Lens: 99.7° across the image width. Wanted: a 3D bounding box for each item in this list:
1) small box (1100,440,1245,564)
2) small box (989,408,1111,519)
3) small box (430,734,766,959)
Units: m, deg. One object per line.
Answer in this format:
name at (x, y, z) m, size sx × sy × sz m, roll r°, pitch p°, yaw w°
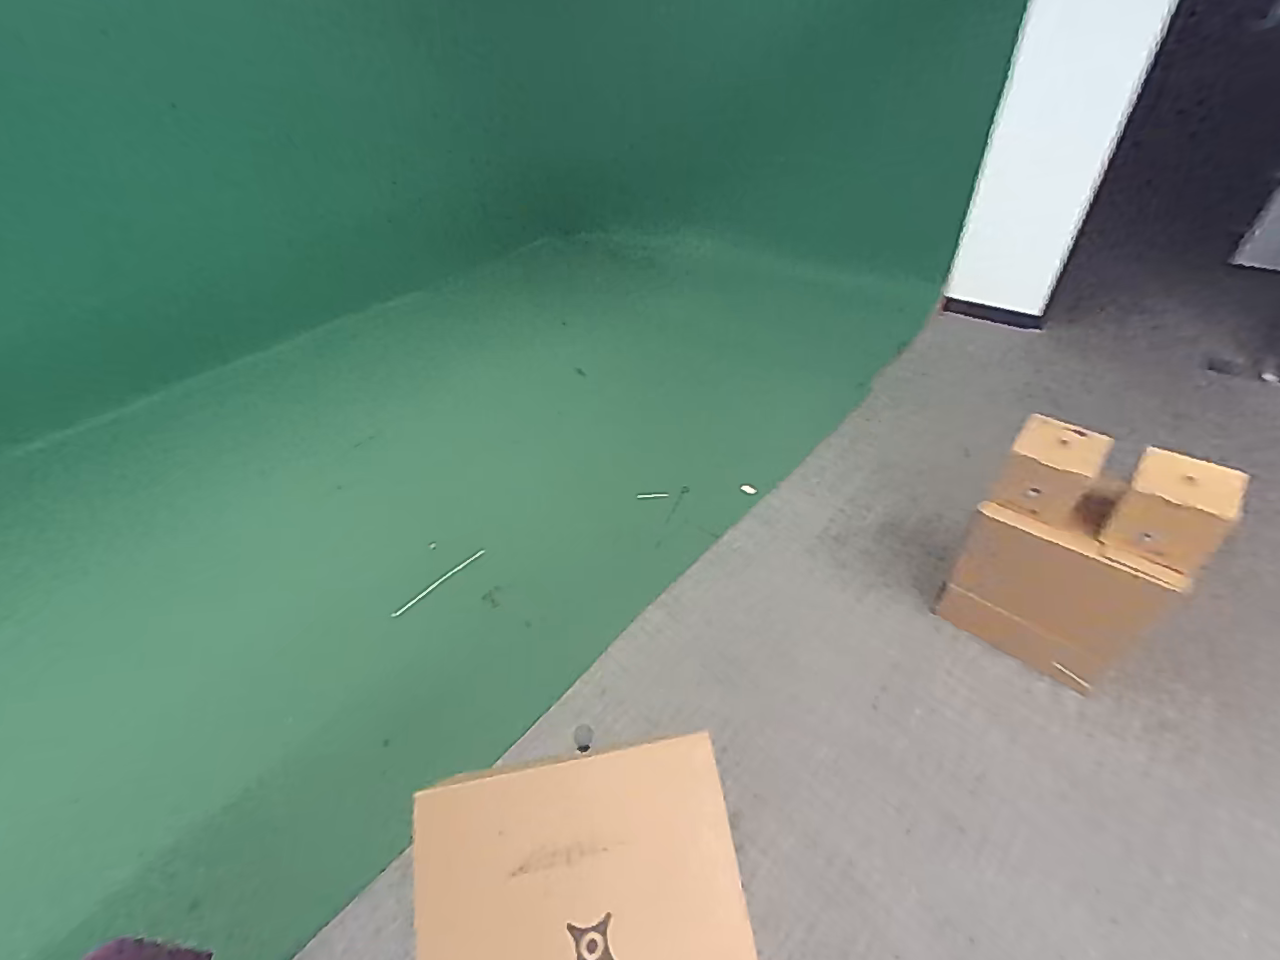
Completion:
small box at (1.157, 0.048, 1.185) m, size 0.168 × 0.176 × 0.179 m, roll 28°, pitch 54°, yaw 34°
small box at (0.976, -0.038, 1.302) m, size 0.168 × 0.176 × 0.179 m, roll 30°, pitch 56°, yaw 32°
small box at (-0.030, 0.267, 0.338) m, size 0.168 × 0.176 × 0.179 m, roll -4°, pitch 67°, yaw -13°
